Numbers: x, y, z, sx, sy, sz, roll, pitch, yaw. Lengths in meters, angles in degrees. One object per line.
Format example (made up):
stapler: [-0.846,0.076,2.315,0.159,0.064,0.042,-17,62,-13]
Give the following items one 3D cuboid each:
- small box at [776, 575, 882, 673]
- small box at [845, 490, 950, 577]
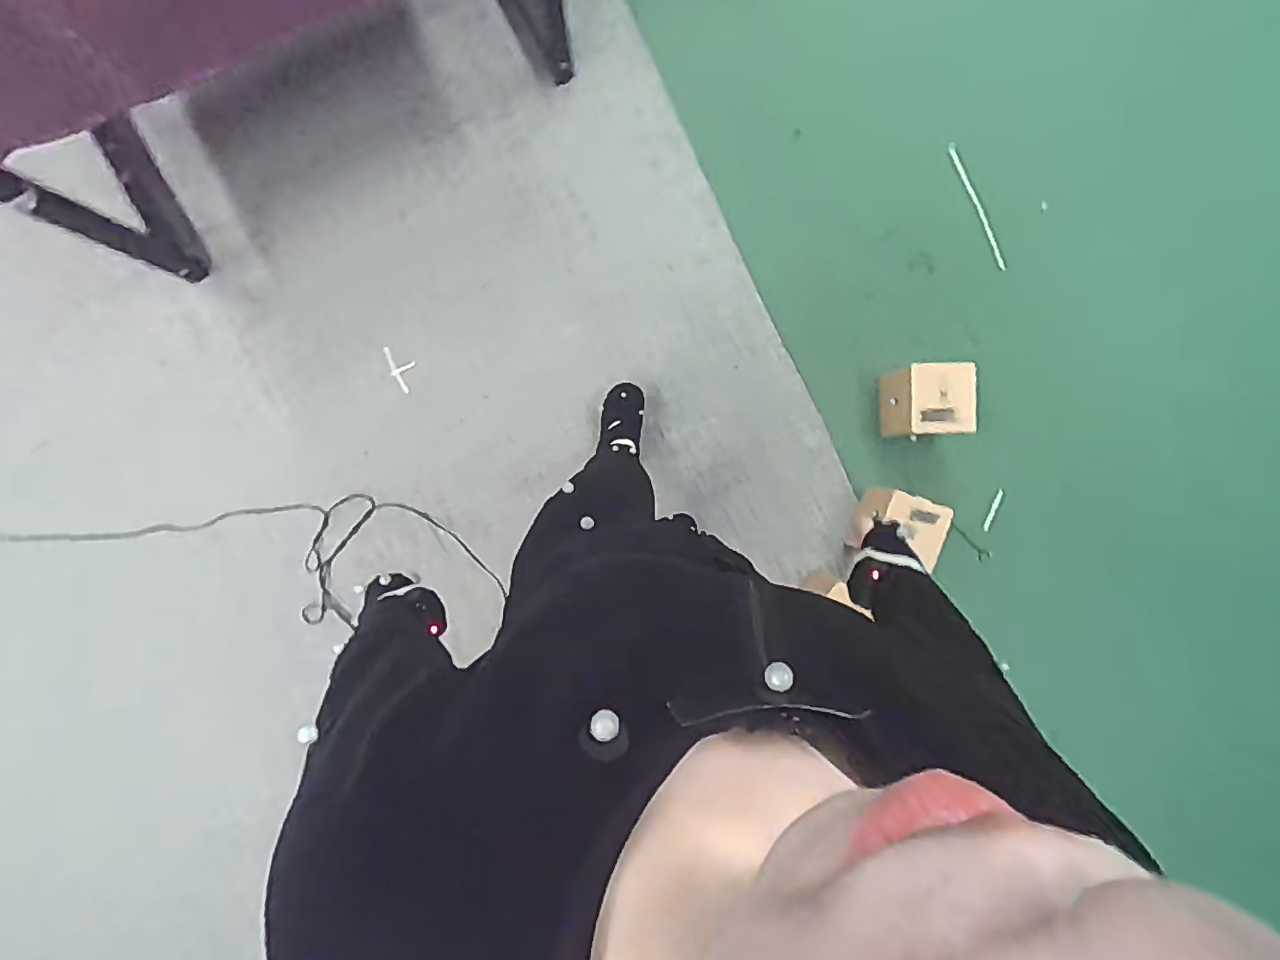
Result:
small box: [0.492,0.372,1.439,0.168,0.176,0.179,-43,92,0]
small box: [0.675,0.135,1.437,0.168,0.176,0.179,20,92,-2]
